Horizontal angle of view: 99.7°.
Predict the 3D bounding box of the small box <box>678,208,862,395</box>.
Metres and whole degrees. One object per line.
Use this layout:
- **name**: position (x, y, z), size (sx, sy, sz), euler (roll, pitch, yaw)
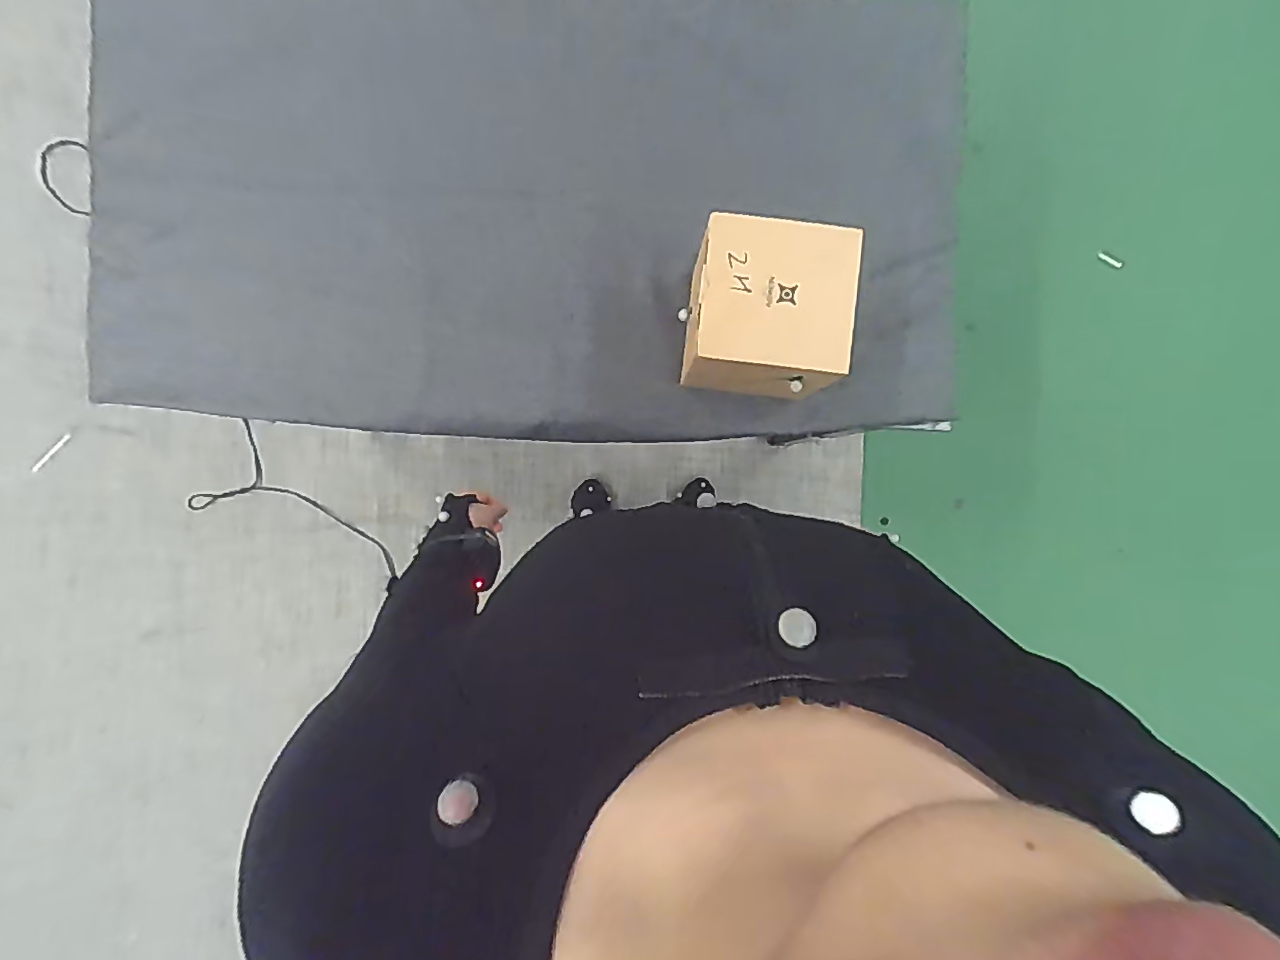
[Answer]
- **small box**: position (0.148, -0.205, 0.670), size (0.179, 0.176, 0.168), euler (6, 88, 0)
